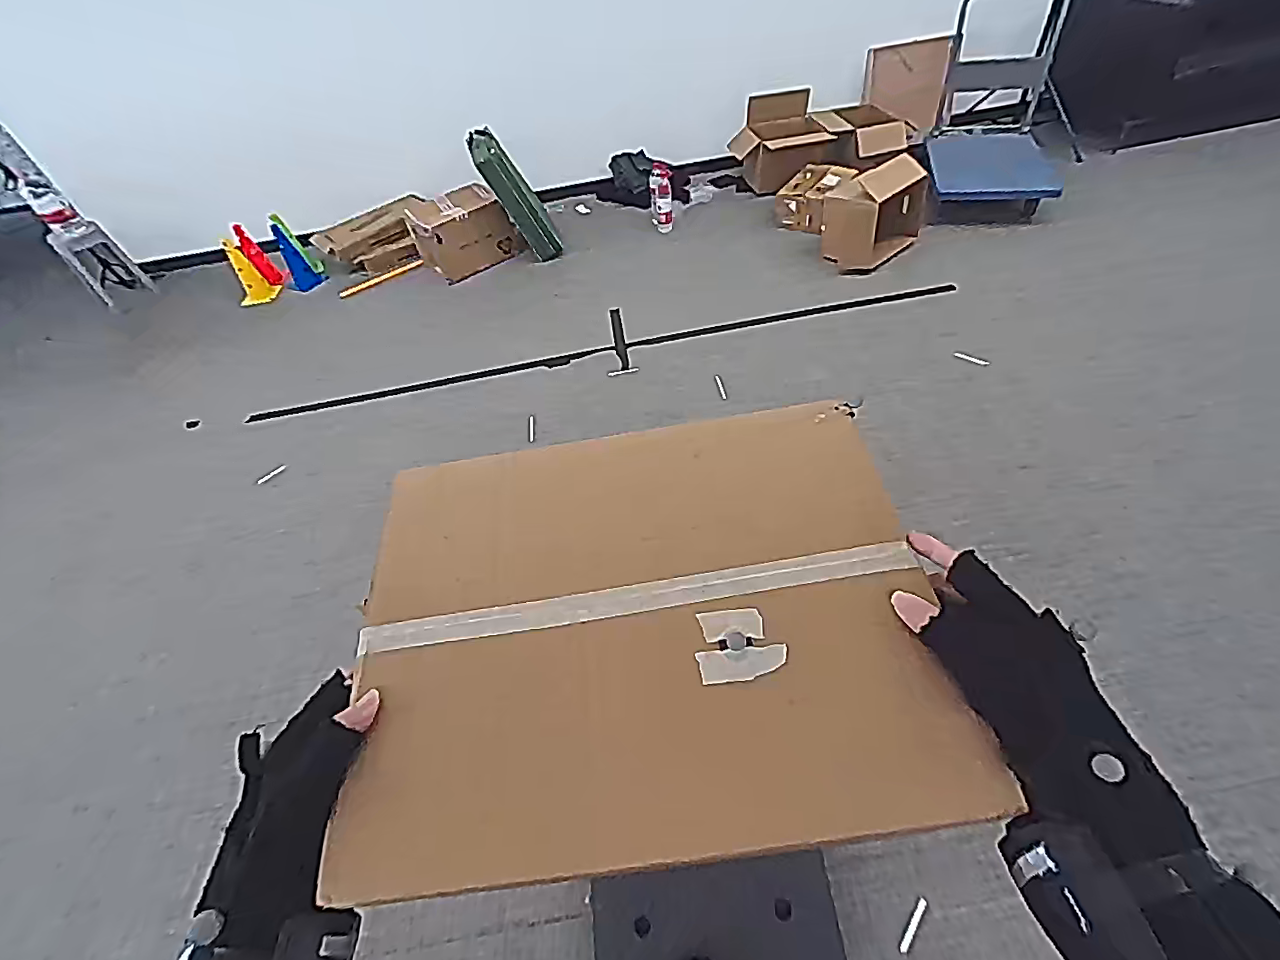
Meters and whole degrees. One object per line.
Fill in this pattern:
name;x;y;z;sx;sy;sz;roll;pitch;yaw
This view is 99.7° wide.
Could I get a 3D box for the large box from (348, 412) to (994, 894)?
large box;0.014;0.178;0.529;0.408;0.320;0.320;-9;55;2
